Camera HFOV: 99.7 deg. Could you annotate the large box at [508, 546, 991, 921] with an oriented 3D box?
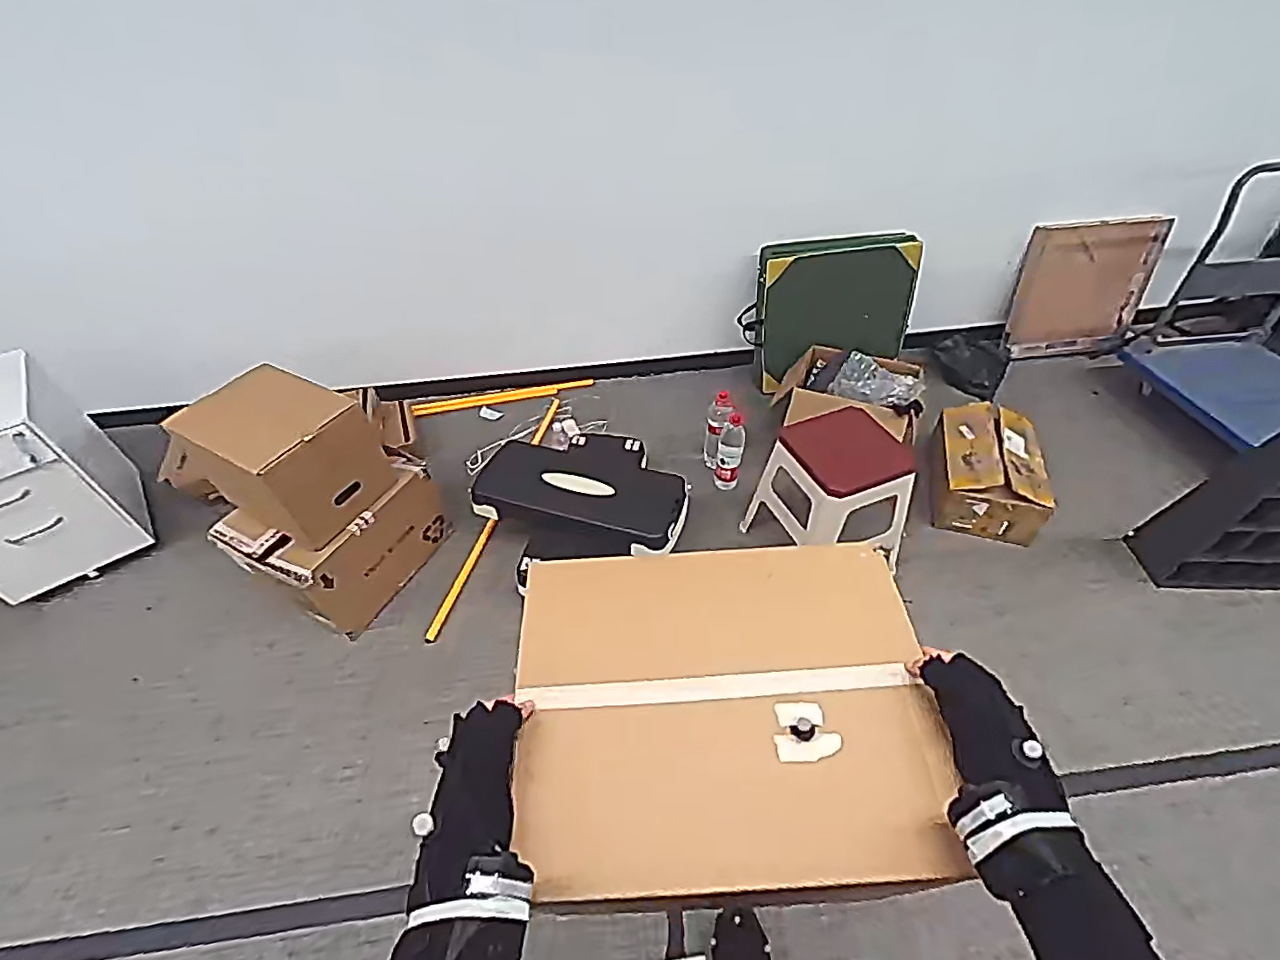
[{"bbox_3d":[0.085,0.304,0.643,0.408,0.320,0.320,-4,49,0],"label":"large box"}]
